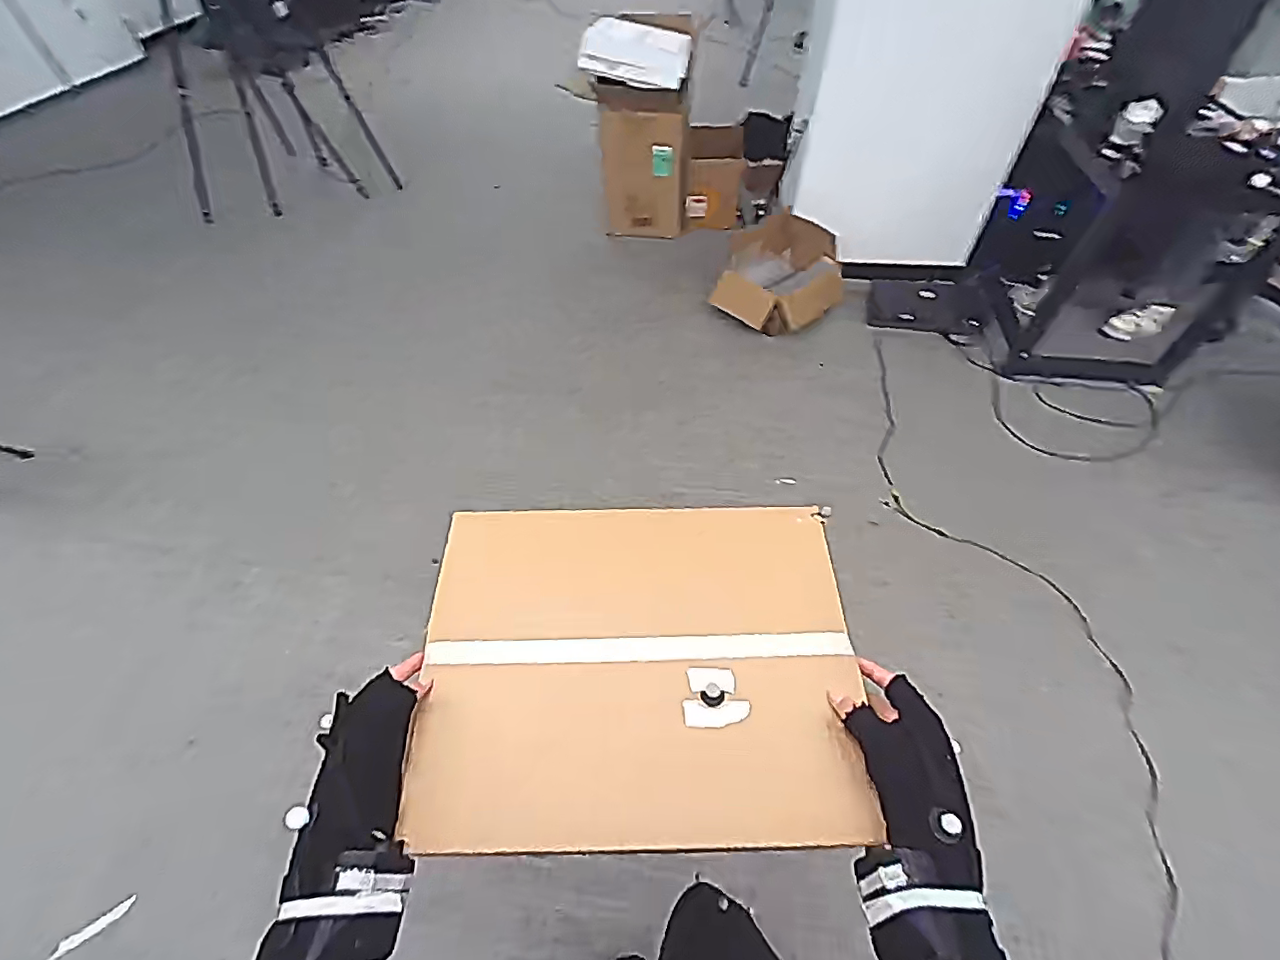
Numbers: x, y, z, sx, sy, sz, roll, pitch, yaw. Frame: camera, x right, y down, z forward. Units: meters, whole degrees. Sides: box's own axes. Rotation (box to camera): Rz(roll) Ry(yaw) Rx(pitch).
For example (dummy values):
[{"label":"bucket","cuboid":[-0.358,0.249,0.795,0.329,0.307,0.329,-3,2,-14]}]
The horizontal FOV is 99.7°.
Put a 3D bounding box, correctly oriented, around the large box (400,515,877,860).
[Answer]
[{"label":"large box","cuboid":[-0.006,0.257,0.649,0.408,0.320,0.320,-1,55,-1]}]
